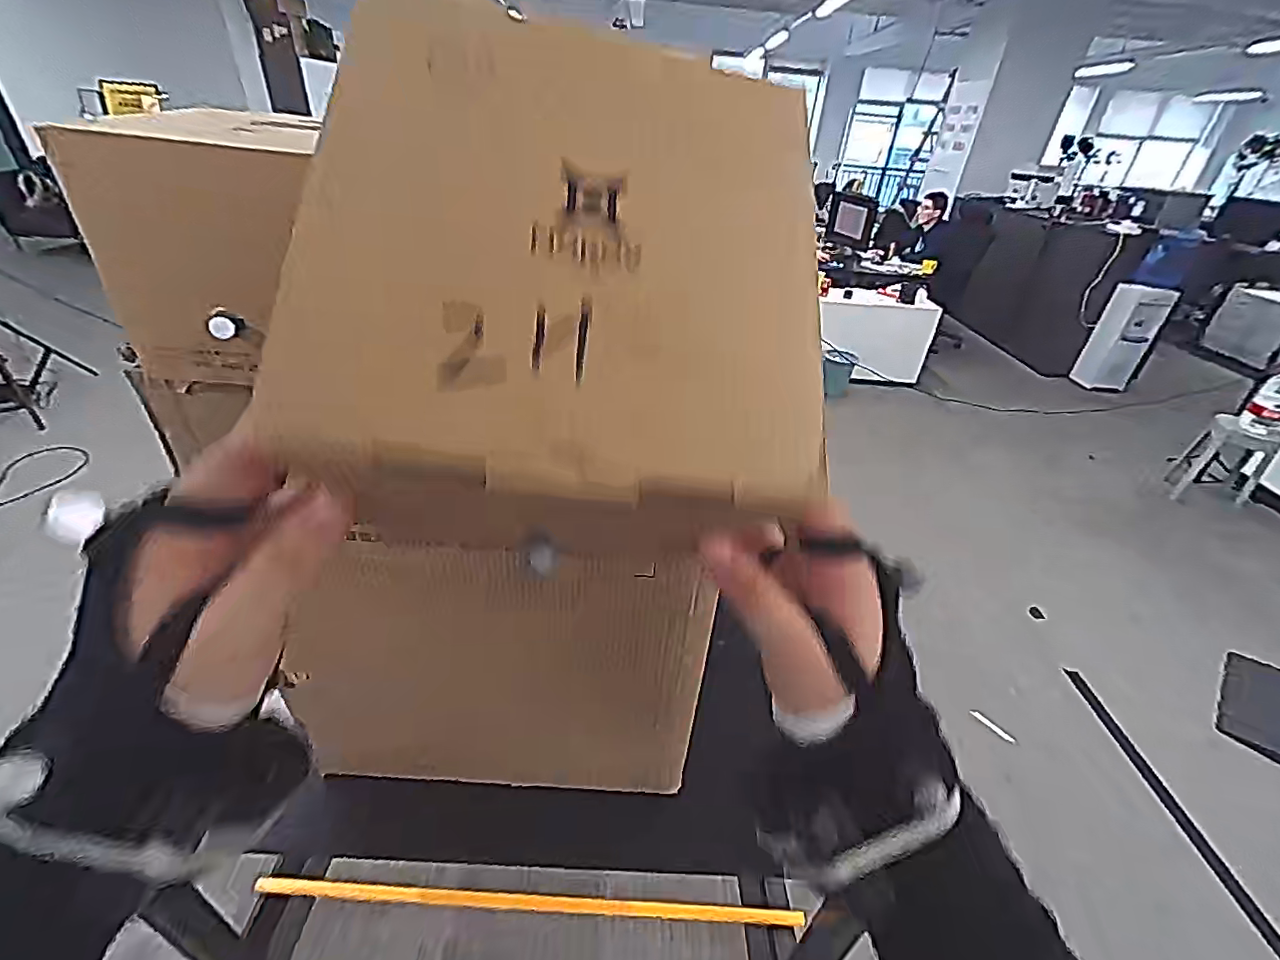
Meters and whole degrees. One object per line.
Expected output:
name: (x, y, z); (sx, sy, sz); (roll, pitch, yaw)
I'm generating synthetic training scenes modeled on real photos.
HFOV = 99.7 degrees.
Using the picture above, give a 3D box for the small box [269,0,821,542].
small box: (-0.033, -0.076, 0.259); (0.168, 0.176, 0.179); (6, 73, -10)
